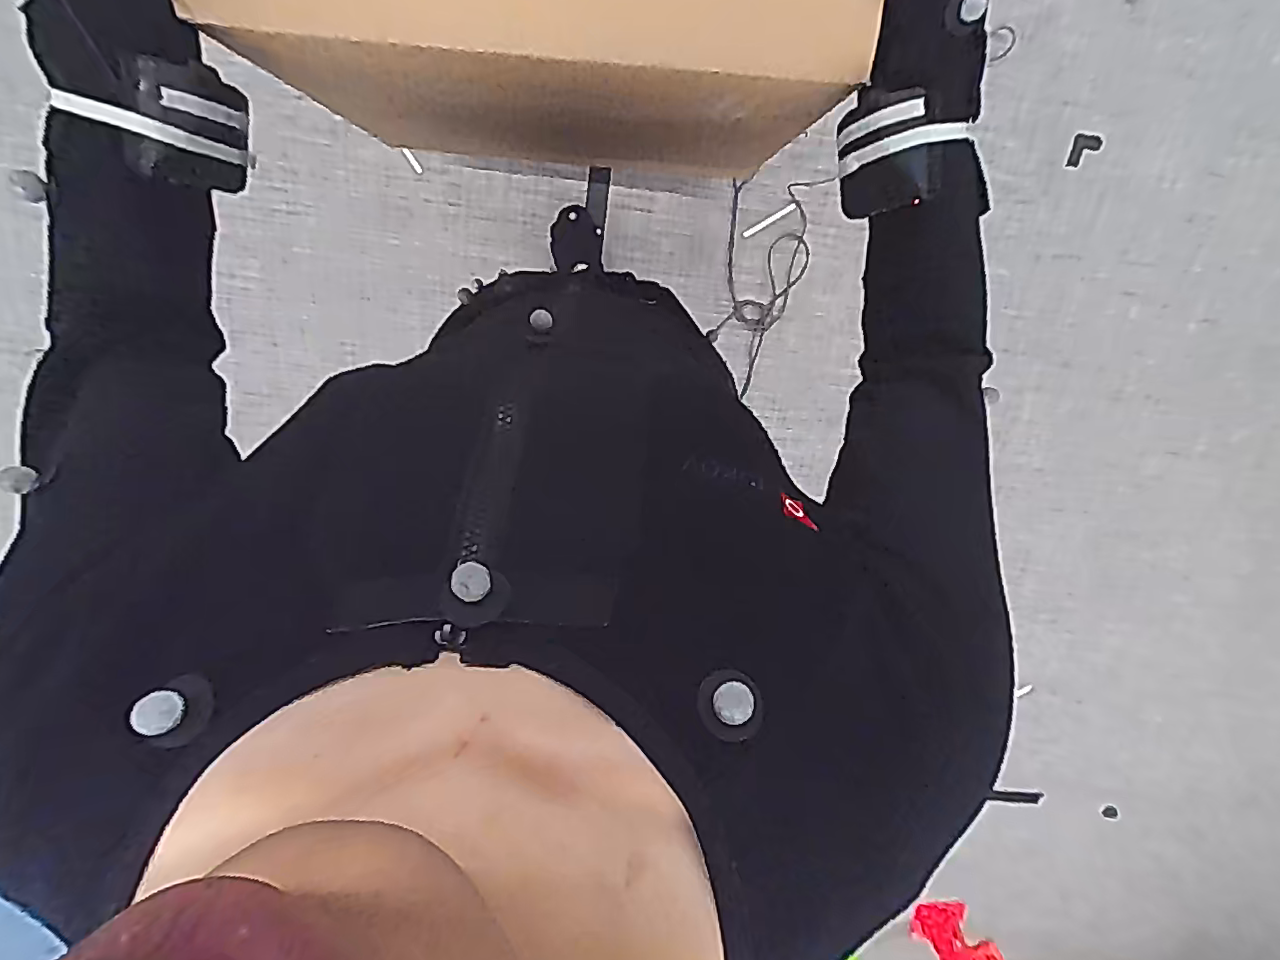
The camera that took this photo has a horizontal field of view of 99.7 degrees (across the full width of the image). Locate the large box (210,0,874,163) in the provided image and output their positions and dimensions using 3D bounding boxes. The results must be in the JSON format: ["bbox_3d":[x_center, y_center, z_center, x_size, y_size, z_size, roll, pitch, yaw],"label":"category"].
[{"bbox_3d":[-0.059,-0.462,0.419,0.408,0.320,0.320,2,110,-4],"label":"large box"}]
